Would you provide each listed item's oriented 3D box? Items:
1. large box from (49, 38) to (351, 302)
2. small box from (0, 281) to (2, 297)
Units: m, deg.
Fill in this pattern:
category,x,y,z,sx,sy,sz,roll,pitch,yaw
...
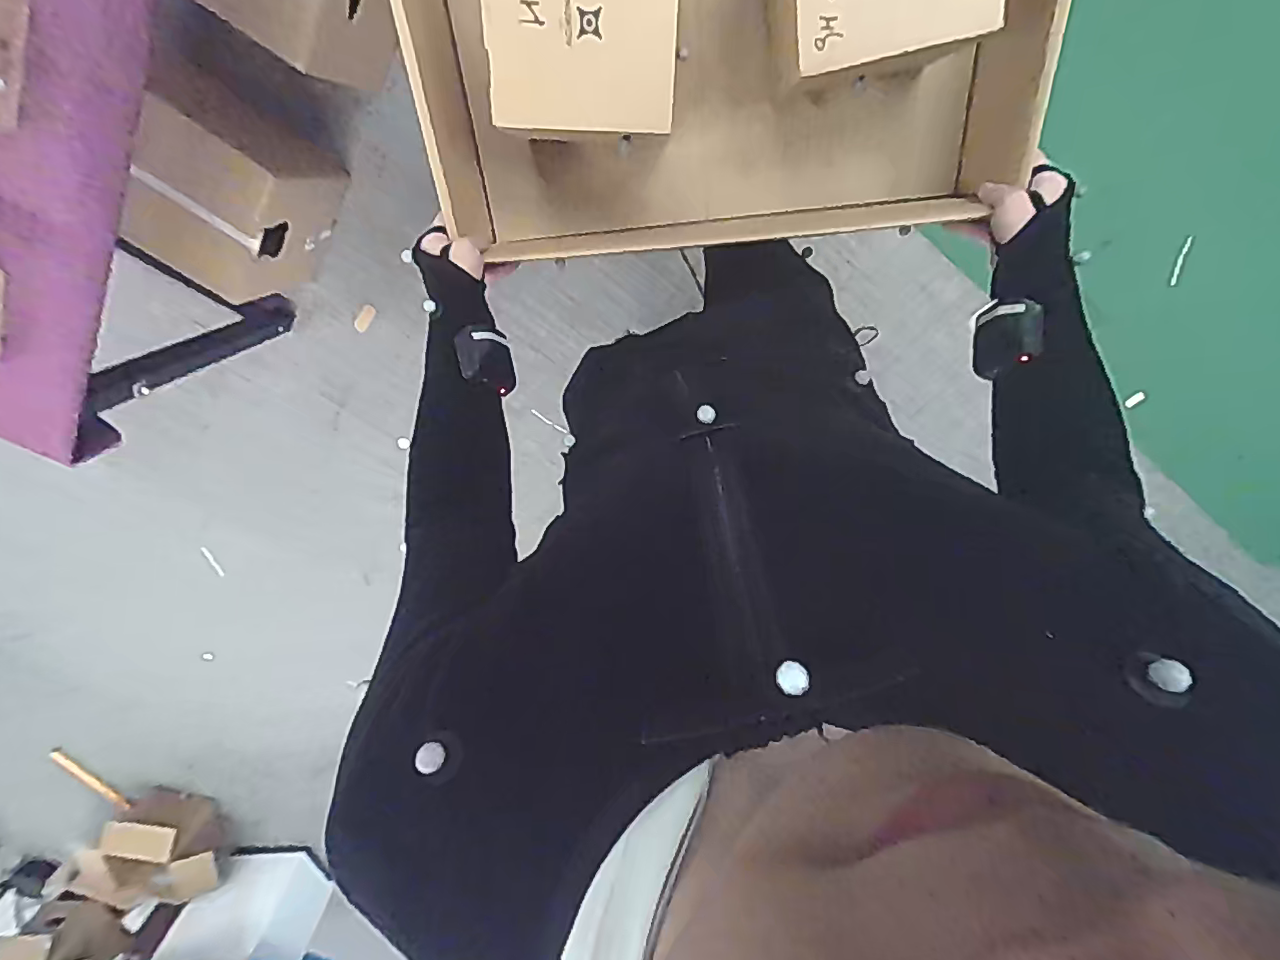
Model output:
category,x,y,z,sx,sy,sz,roll,pitch,yaw
large box,-0.958,-0.671,1.220,0.408,0.320,0.320,33,116,-14
small box,-1.011,-0.238,0.705,0.179,0.176,0.168,32,116,-13
